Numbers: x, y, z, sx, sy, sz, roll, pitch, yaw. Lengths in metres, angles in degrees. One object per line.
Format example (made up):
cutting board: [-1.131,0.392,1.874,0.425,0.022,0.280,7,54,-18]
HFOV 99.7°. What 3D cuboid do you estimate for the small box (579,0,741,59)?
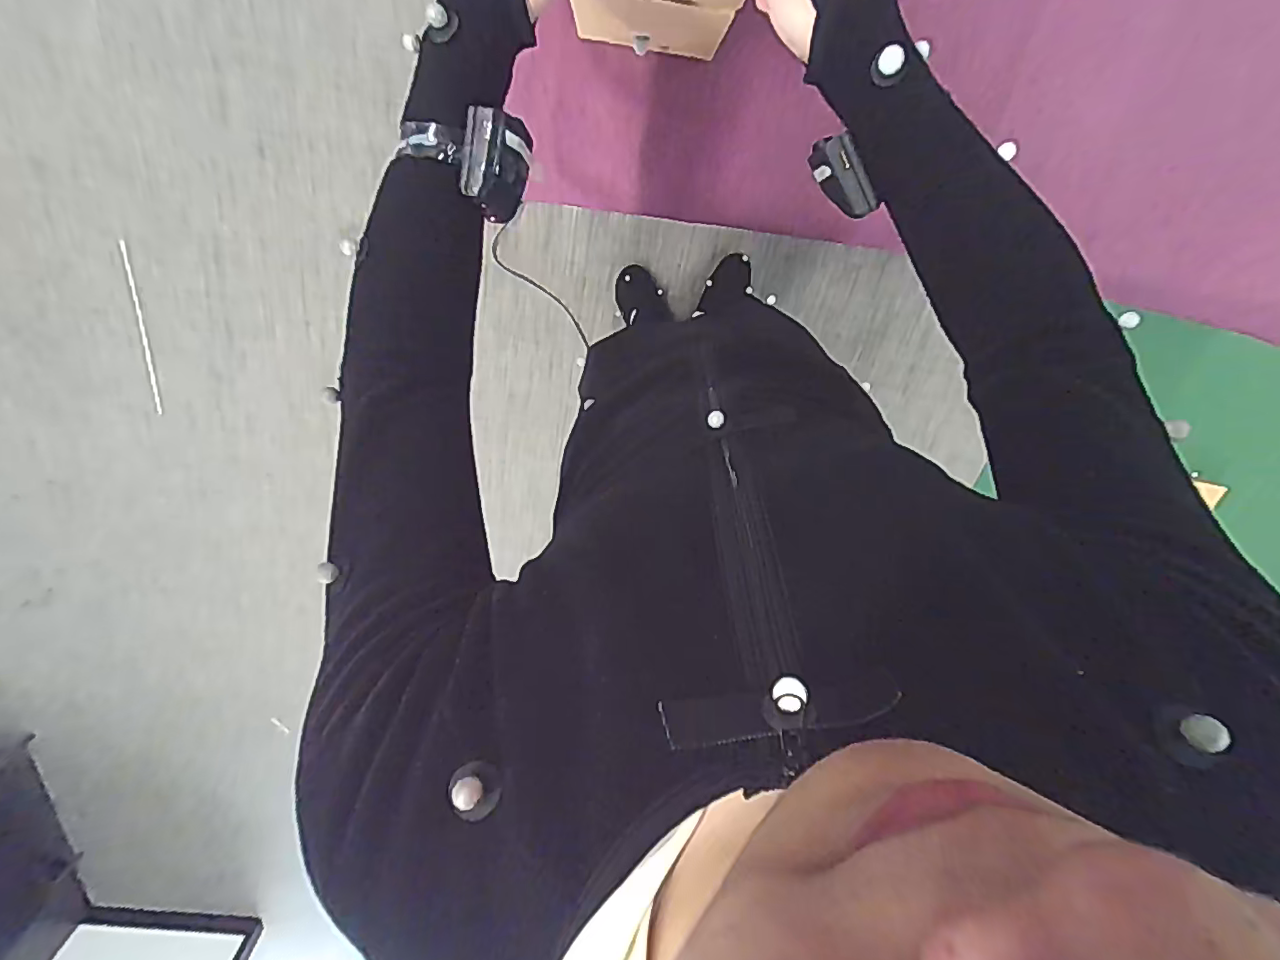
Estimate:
small box: [0.024,-0.567,0.547,0.168,0.176,0.179,7,116,-5]
